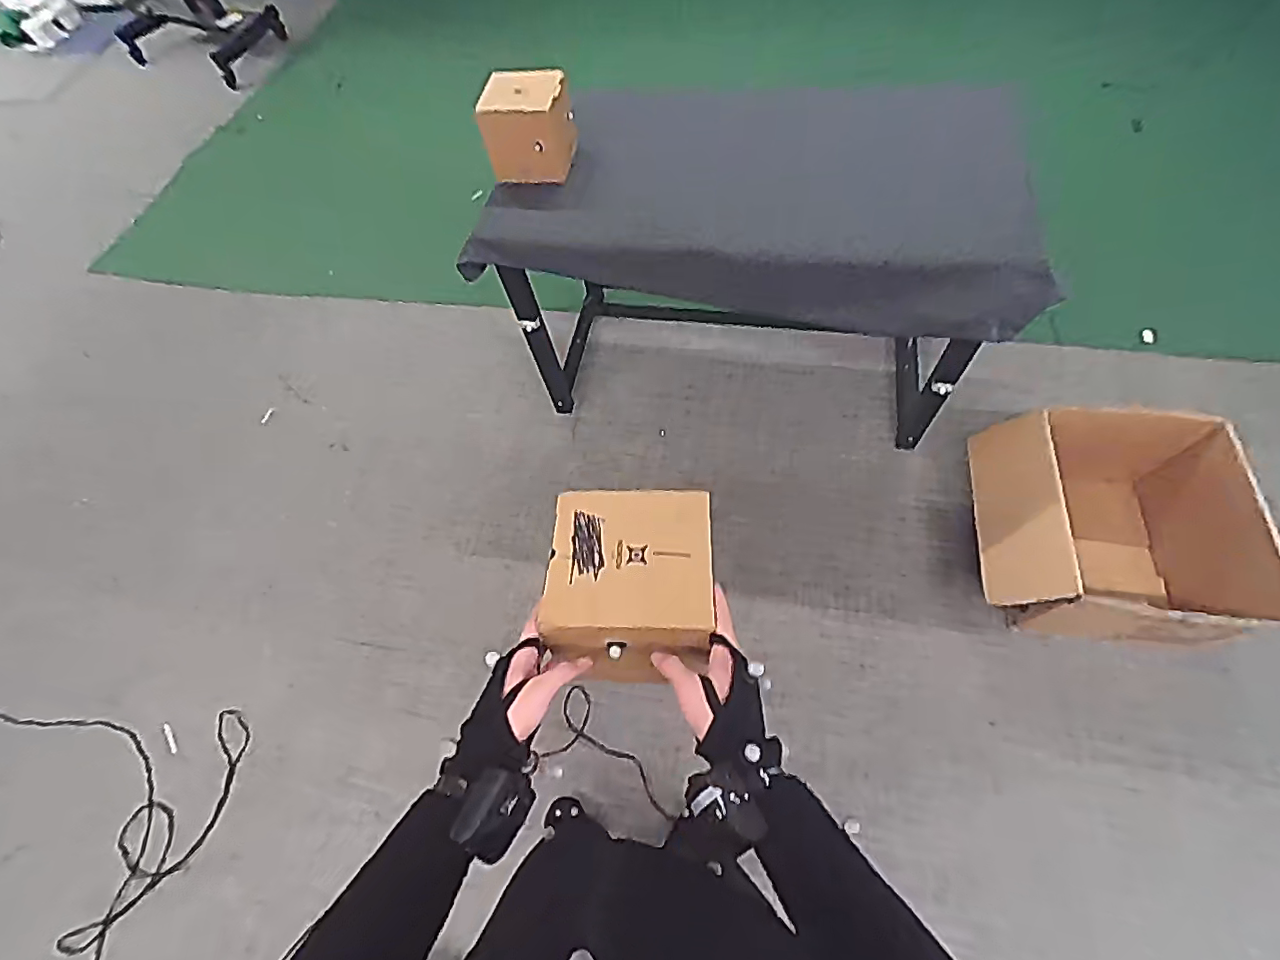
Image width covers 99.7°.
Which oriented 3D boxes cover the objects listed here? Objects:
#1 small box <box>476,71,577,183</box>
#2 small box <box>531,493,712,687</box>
[{"bbox_3d":[-0.259,-0.833,1.284,0.179,0.176,0.168,4,61,9],"label":"small box"},{"bbox_3d":[-0.008,0.131,0.631,0.179,0.176,0.168,2,53,7],"label":"small box"}]
